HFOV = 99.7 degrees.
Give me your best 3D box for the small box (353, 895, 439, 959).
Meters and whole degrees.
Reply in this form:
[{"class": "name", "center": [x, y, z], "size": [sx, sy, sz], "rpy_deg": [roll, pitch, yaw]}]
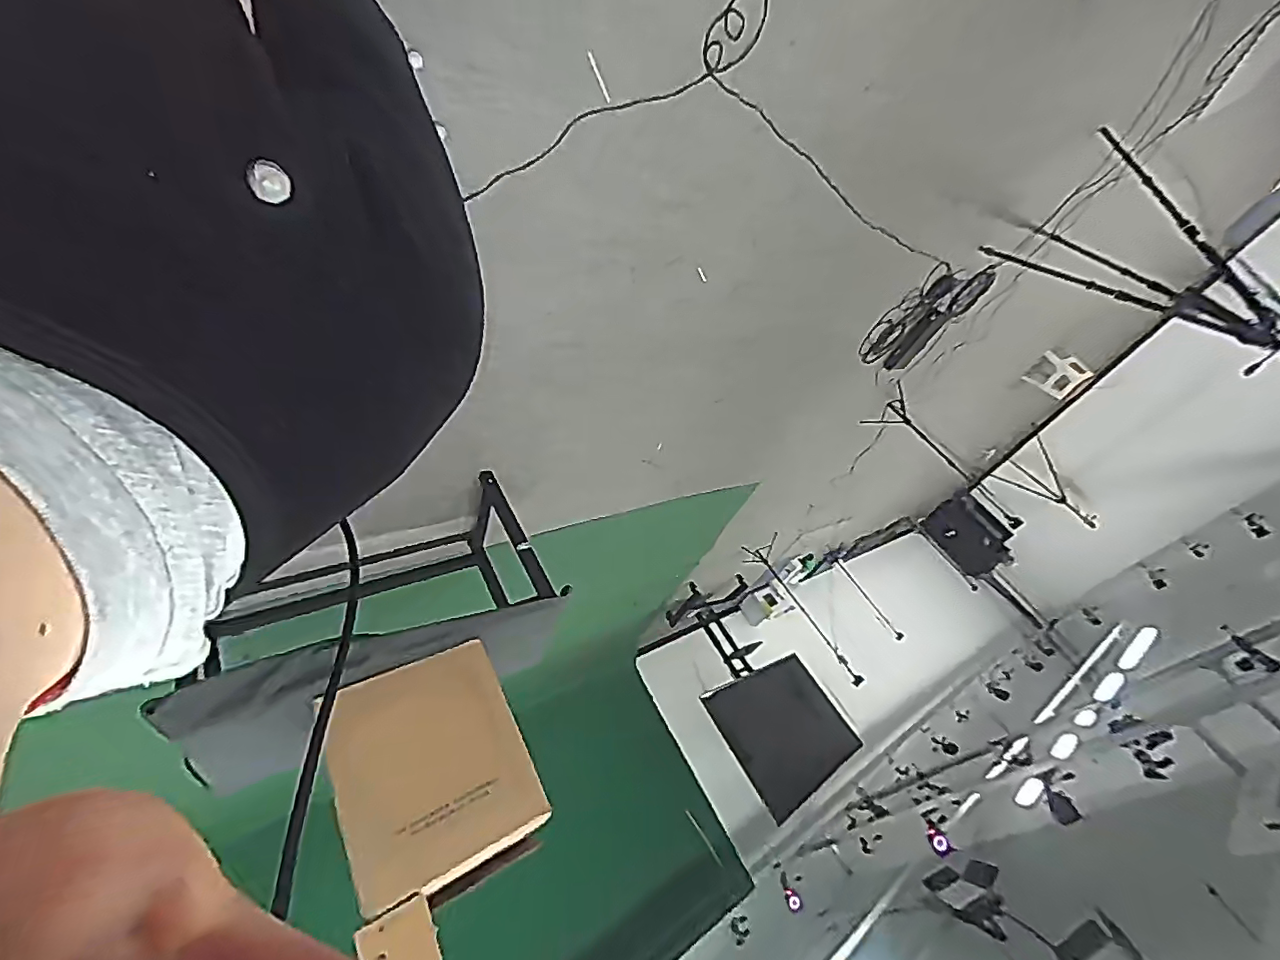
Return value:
[{"class": "small box", "center": [-0.645, 1.237, 1.431], "size": [0.168, 0.176, 0.179], "rpy_deg": [-16, 148, -27]}]
